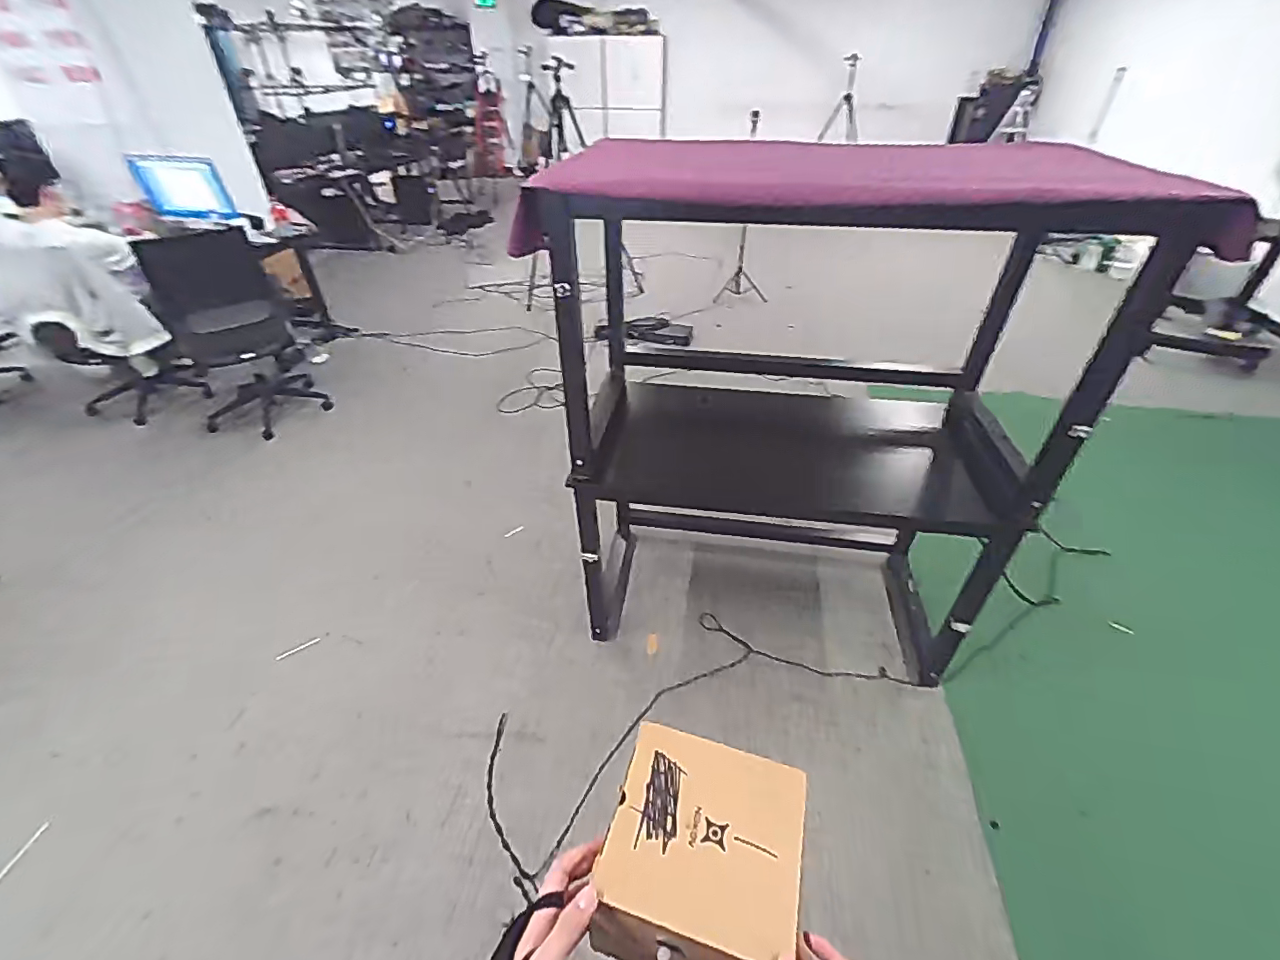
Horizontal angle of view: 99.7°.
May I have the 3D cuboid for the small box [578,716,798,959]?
[{"bbox_3d":[0.050,0.379,0.547,0.179,0.176,0.168,12,38,13],"label":"small box"}]
